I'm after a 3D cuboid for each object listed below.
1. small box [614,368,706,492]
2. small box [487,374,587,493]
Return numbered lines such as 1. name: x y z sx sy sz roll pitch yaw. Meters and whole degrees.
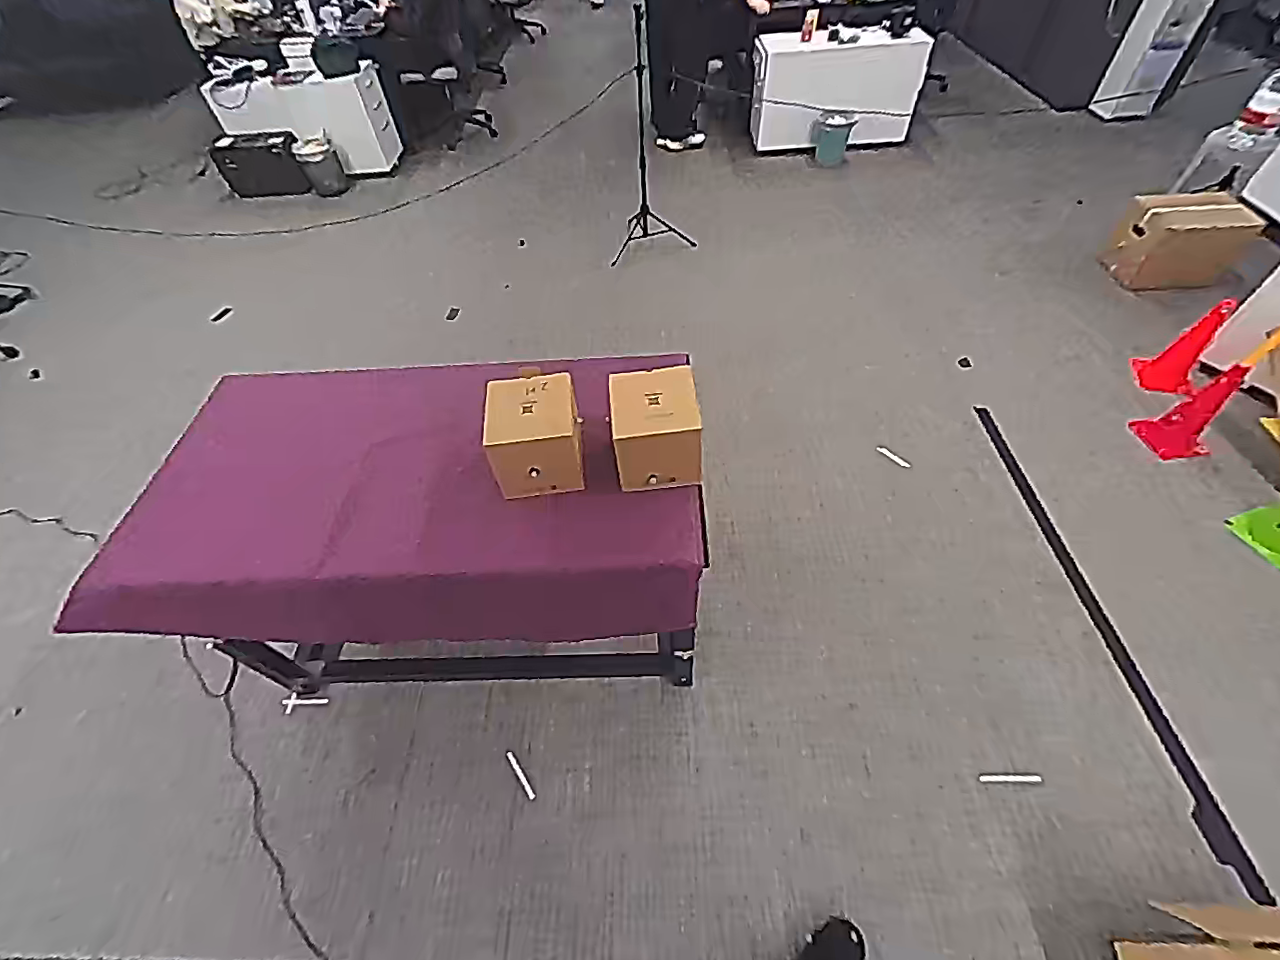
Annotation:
1. small box: 0.038 -0.098 1.086 0.168 0.176 0.179 -6 51 1
2. small box: -0.201 -0.087 1.094 0.168 0.176 0.179 -6 51 -1
